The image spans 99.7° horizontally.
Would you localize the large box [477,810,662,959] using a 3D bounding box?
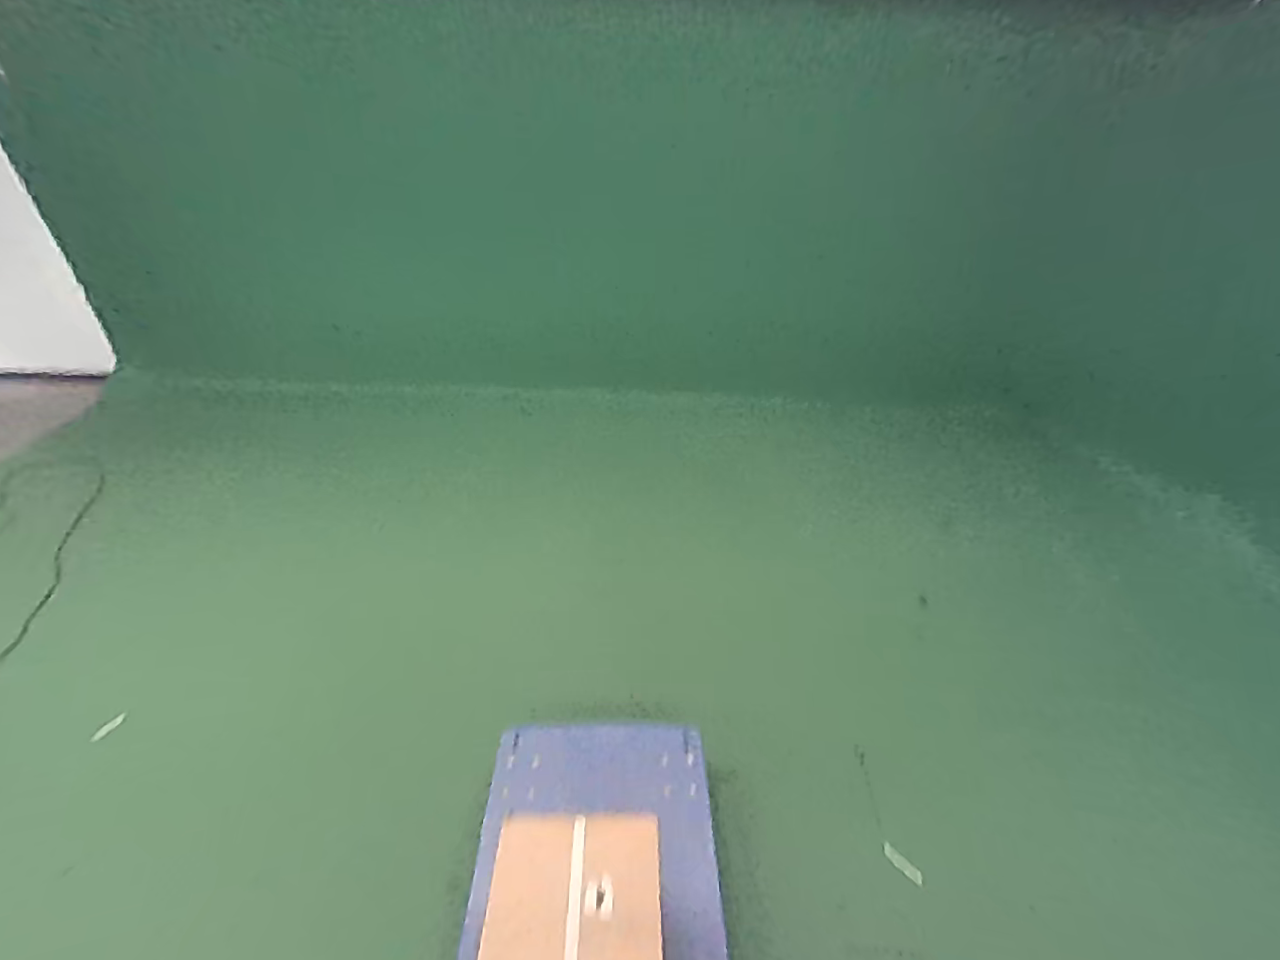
[{"bbox_3d":[-0.123,0.907,1.015,0.320,0.320,0.408,1,35,-2],"label":"large box"}]
